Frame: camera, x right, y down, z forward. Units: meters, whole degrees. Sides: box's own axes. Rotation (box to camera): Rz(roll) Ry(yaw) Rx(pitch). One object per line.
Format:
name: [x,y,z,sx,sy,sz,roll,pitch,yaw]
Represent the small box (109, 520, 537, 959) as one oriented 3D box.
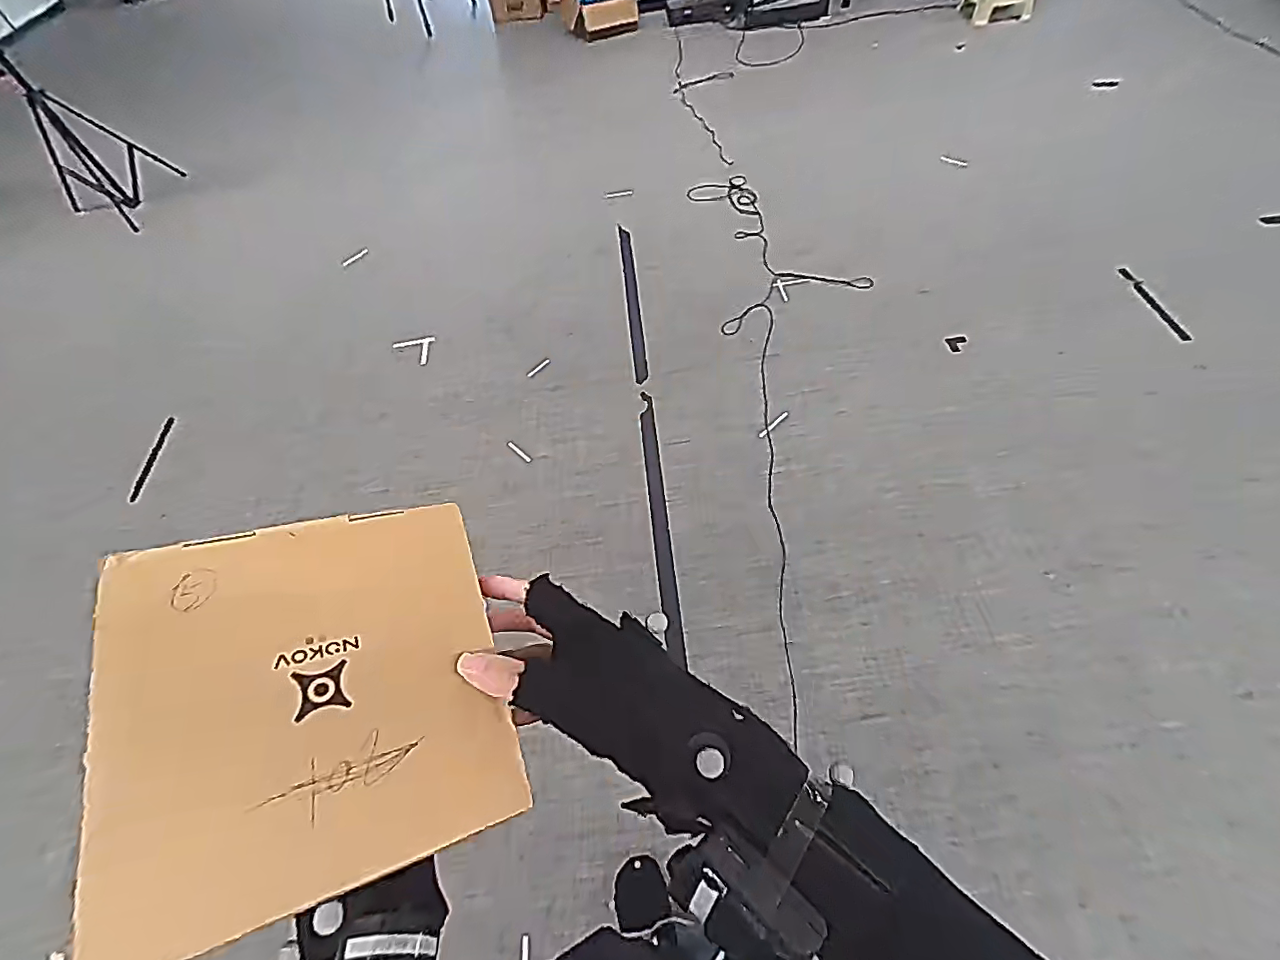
small box: [-0.179,0.149,0.333,0.168,0.176,0.179,-9,61,-28]
